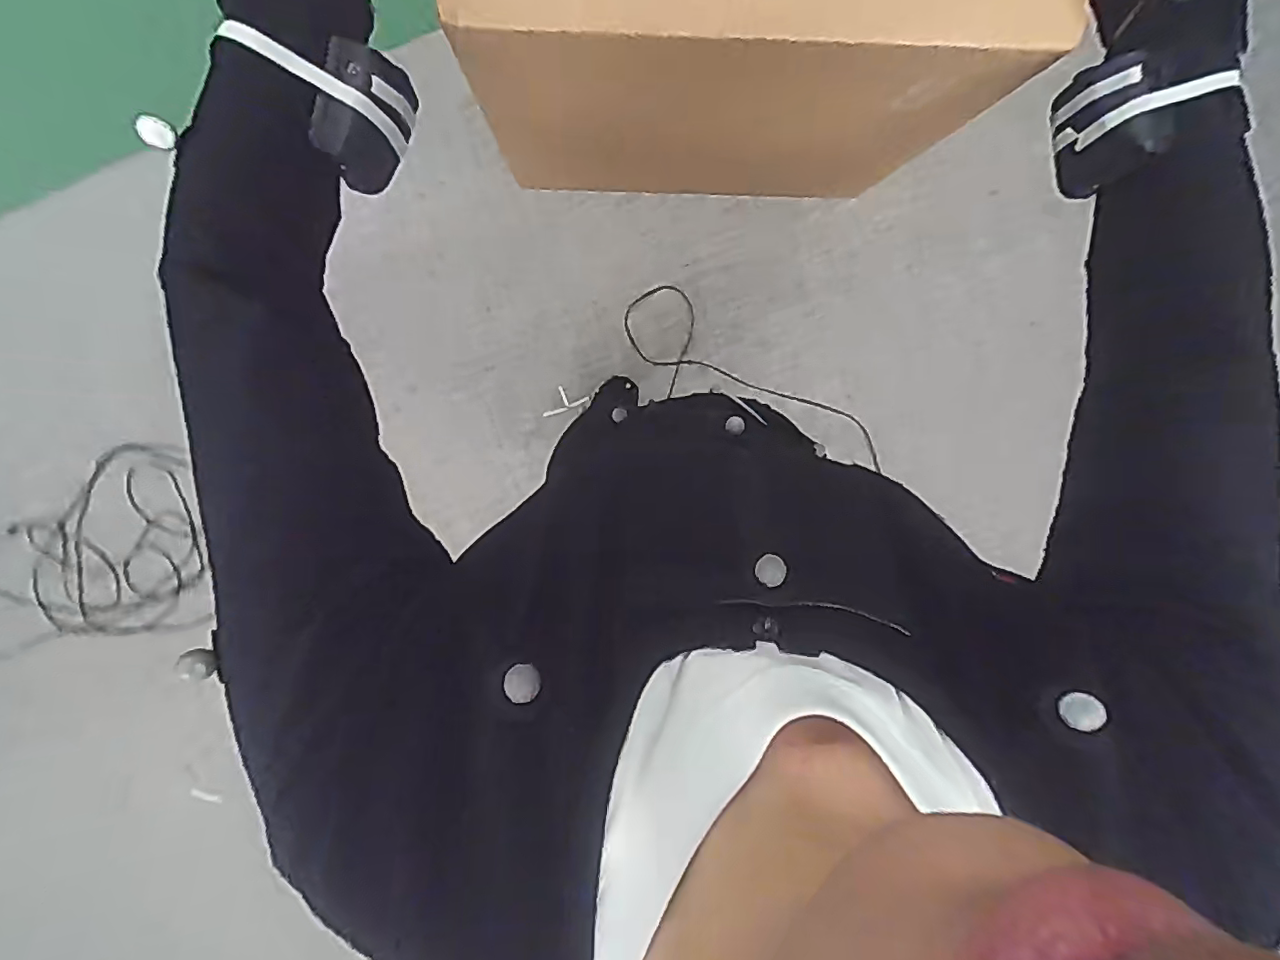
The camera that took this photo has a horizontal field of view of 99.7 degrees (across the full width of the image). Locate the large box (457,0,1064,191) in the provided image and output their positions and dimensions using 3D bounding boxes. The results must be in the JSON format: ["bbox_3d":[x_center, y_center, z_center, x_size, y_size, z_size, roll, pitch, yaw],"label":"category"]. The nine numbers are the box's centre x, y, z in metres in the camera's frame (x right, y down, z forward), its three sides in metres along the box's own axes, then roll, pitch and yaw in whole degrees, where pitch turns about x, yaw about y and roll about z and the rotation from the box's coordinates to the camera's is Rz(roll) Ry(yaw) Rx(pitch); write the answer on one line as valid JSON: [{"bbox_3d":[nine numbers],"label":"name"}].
[{"bbox_3d":[0.070,-0.464,0.463,0.408,0.320,0.320,0,102,-5],"label":"large box"}]
